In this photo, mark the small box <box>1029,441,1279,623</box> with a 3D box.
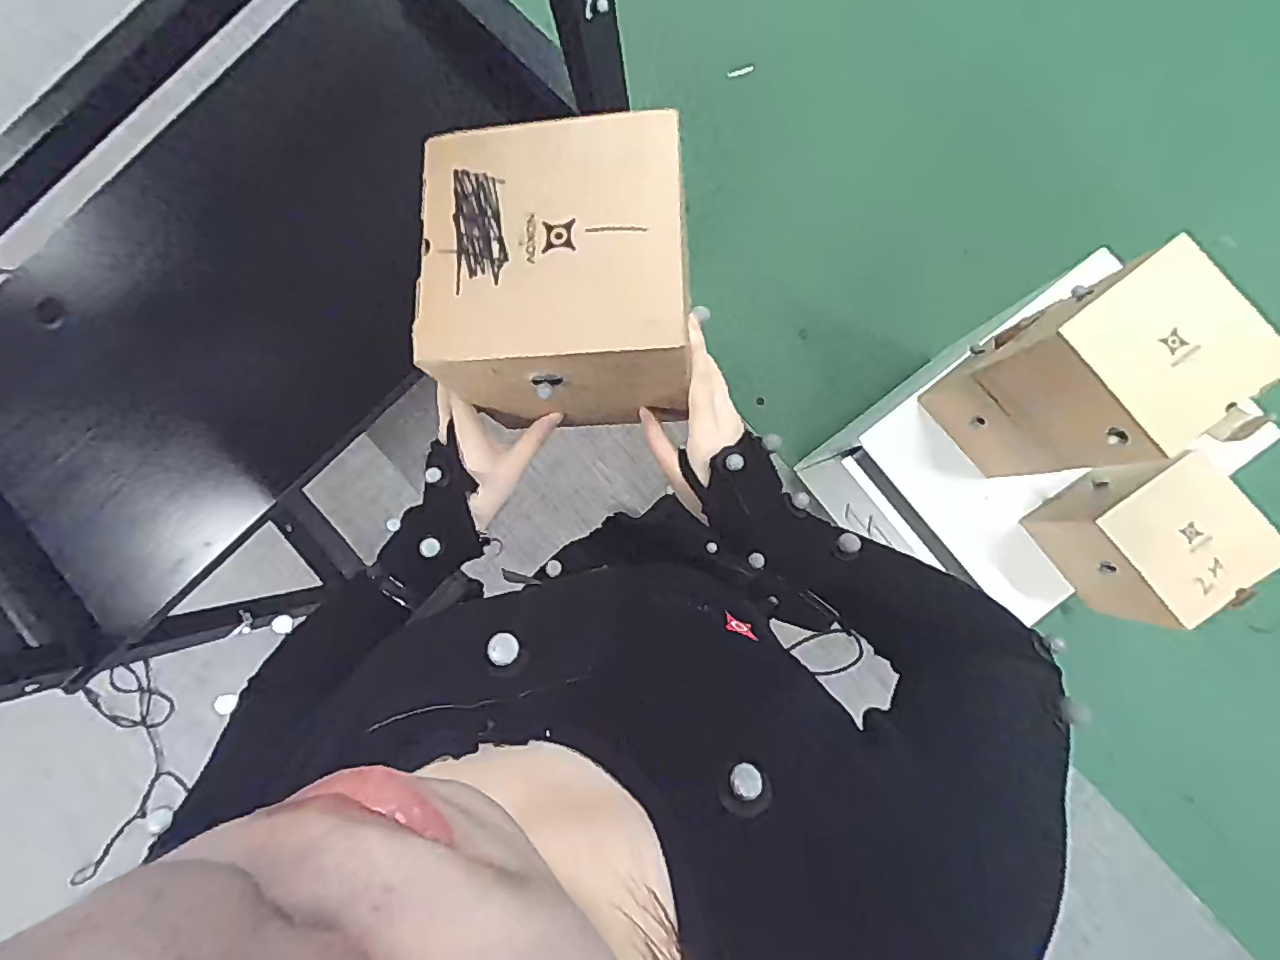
[{"bbox_3d":[0.707,0.071,0.759,0.168,0.176,0.179,-36,84,3],"label":"small box"}]

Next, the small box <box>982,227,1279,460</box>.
[{"bbox_3d":[0.549,-0.138,0.622,0.168,0.176,0.179,-38,86,1],"label":"small box"}]

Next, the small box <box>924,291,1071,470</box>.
[{"bbox_3d":[0.559,-0.129,0.785,0.168,0.176,0.179,-40,85,2],"label":"small box"}]
